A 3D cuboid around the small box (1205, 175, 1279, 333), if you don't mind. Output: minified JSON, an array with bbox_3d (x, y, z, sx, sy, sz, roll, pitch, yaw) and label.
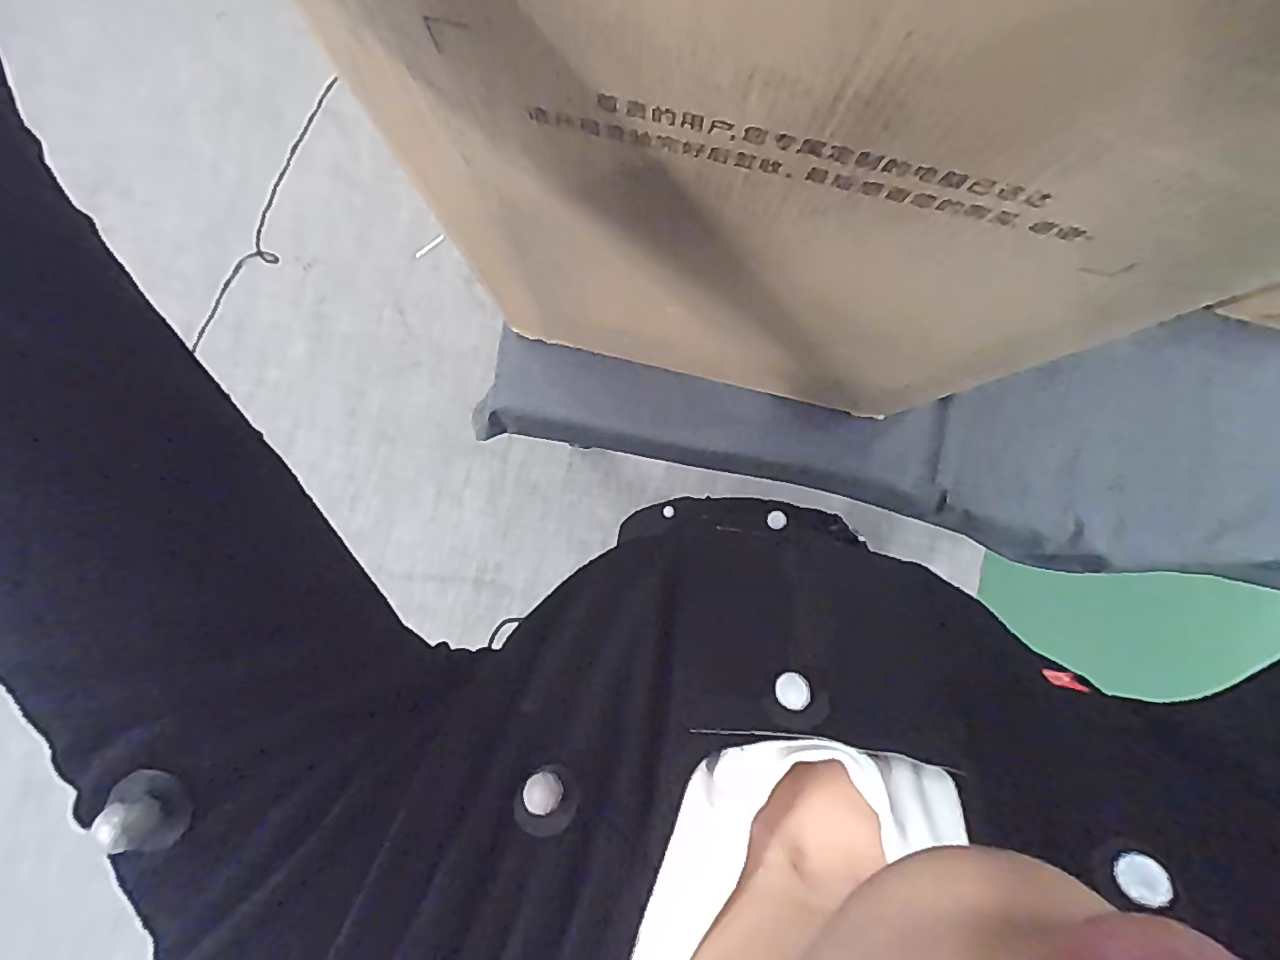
[{"bbox_3d":[0.908,-0.311,0.704,0.168,0.176,0.179,14,89,0],"label":"small box"}]
